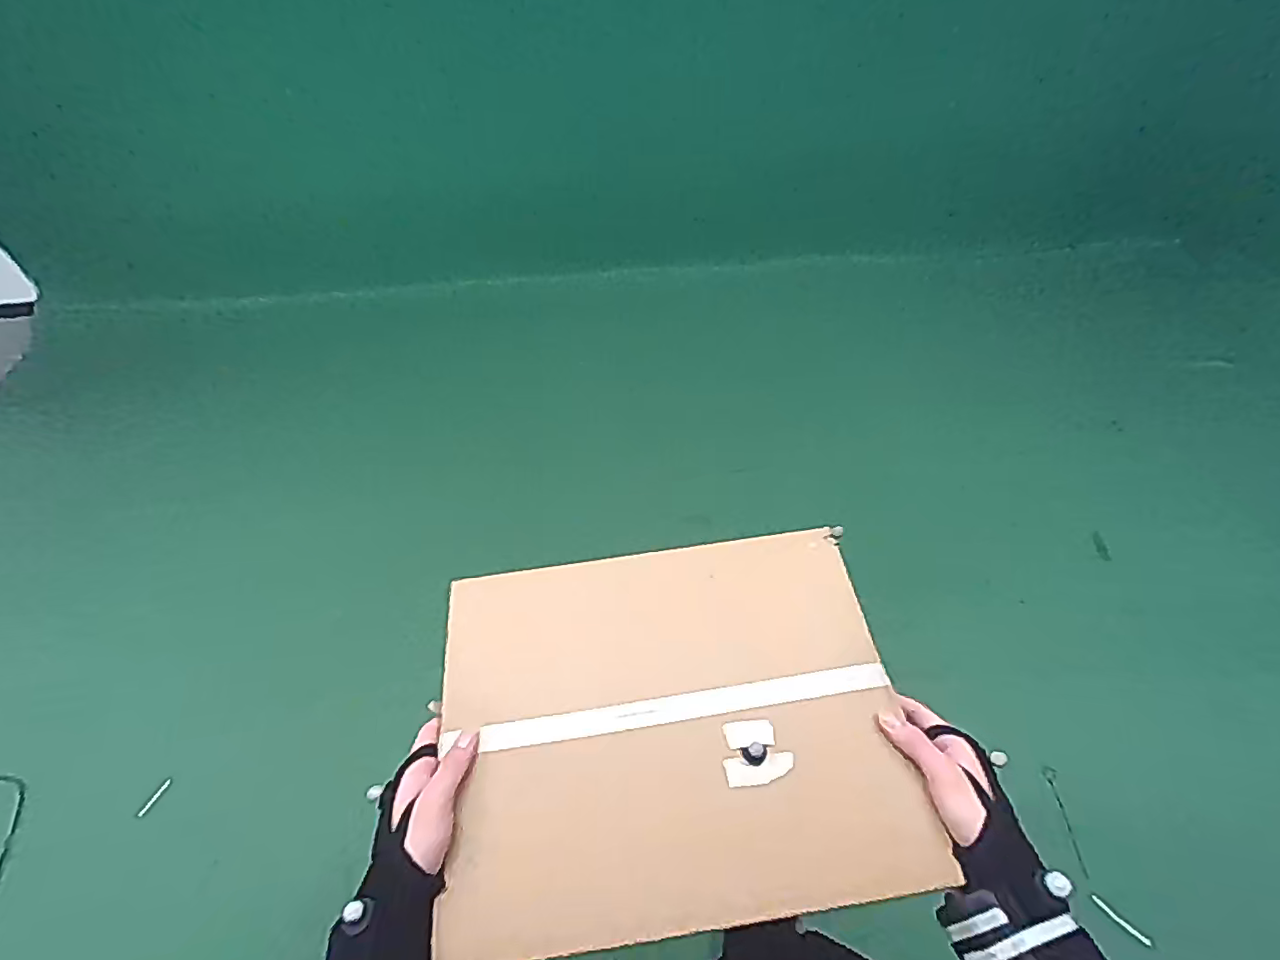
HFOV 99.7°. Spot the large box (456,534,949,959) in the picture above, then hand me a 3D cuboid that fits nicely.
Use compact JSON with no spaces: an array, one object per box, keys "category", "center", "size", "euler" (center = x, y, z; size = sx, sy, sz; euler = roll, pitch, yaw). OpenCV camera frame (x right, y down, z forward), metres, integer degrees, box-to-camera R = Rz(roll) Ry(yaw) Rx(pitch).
[{"category":"large box","center":[0.034,0.296,0.624],"size":[0.408,0.320,0.320],"euler":[-8,56,-3]}]
